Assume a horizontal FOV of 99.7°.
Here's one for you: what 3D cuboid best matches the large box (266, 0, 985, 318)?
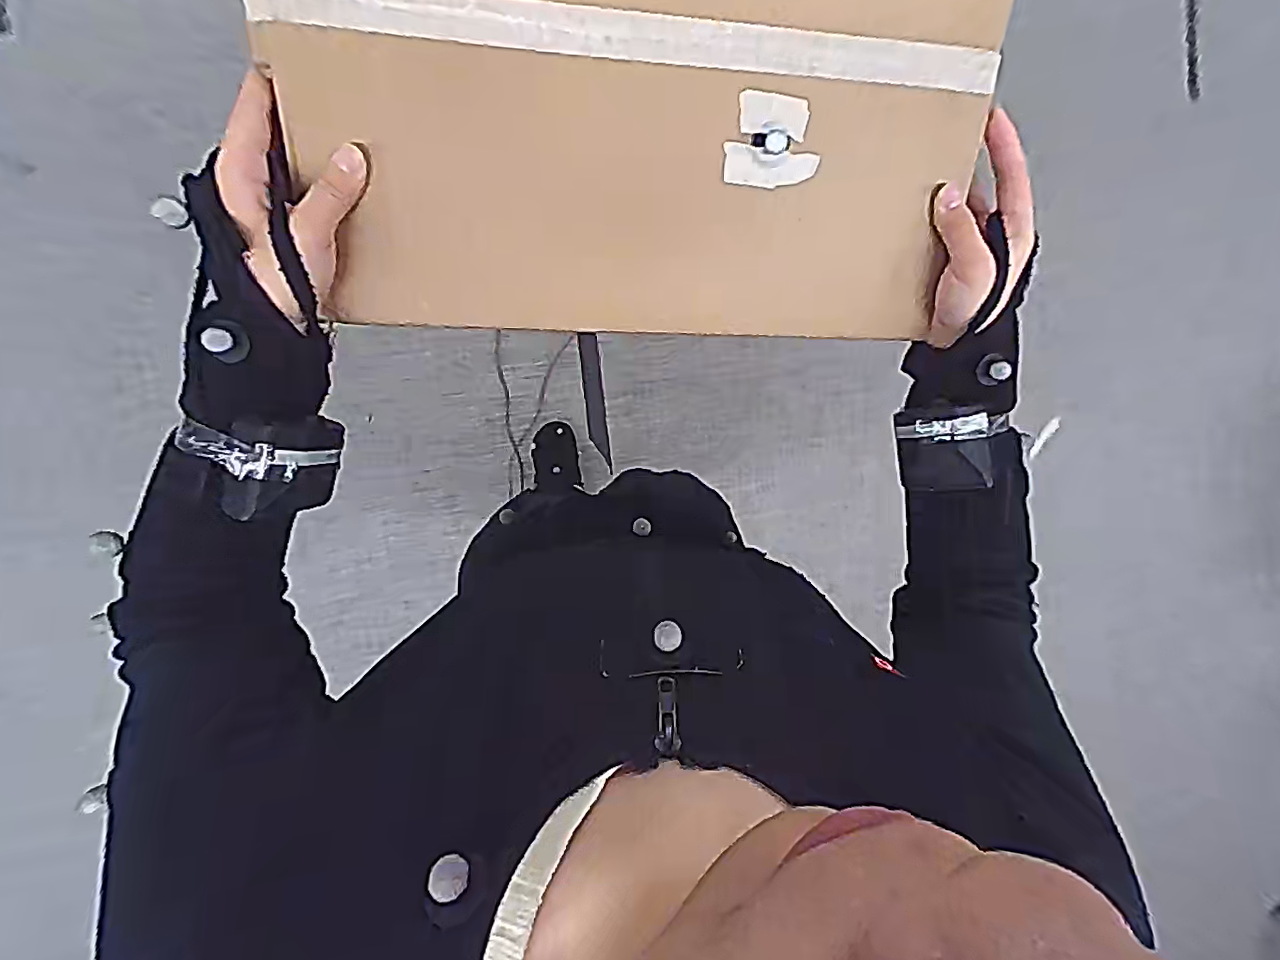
[{"bbox_3d":[-0.019,-0.310,0.435,0.408,0.320,0.320,-2,115,-9],"label":"large box"}]
